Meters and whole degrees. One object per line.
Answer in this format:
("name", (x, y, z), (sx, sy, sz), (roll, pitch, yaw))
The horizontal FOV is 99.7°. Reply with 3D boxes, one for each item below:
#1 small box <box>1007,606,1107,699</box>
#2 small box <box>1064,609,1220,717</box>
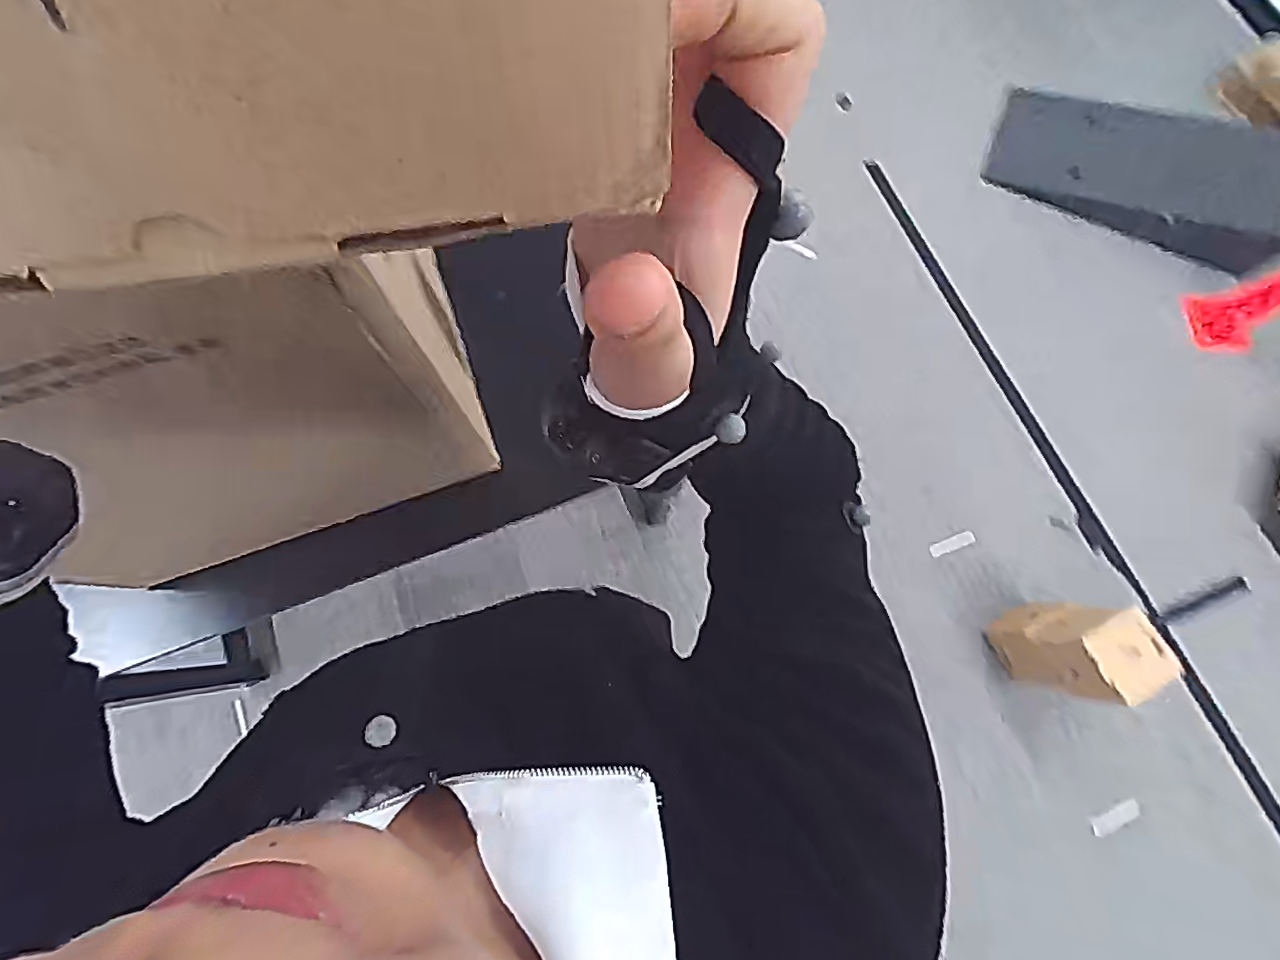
("small box", (1.112, 0.439, 1.402), (0.179, 0.176, 0.168), (-28, 78, -9))
("small box", (1.128, 0.414, 1.239), (0.179, 0.176, 0.168), (-28, 78, -10))
